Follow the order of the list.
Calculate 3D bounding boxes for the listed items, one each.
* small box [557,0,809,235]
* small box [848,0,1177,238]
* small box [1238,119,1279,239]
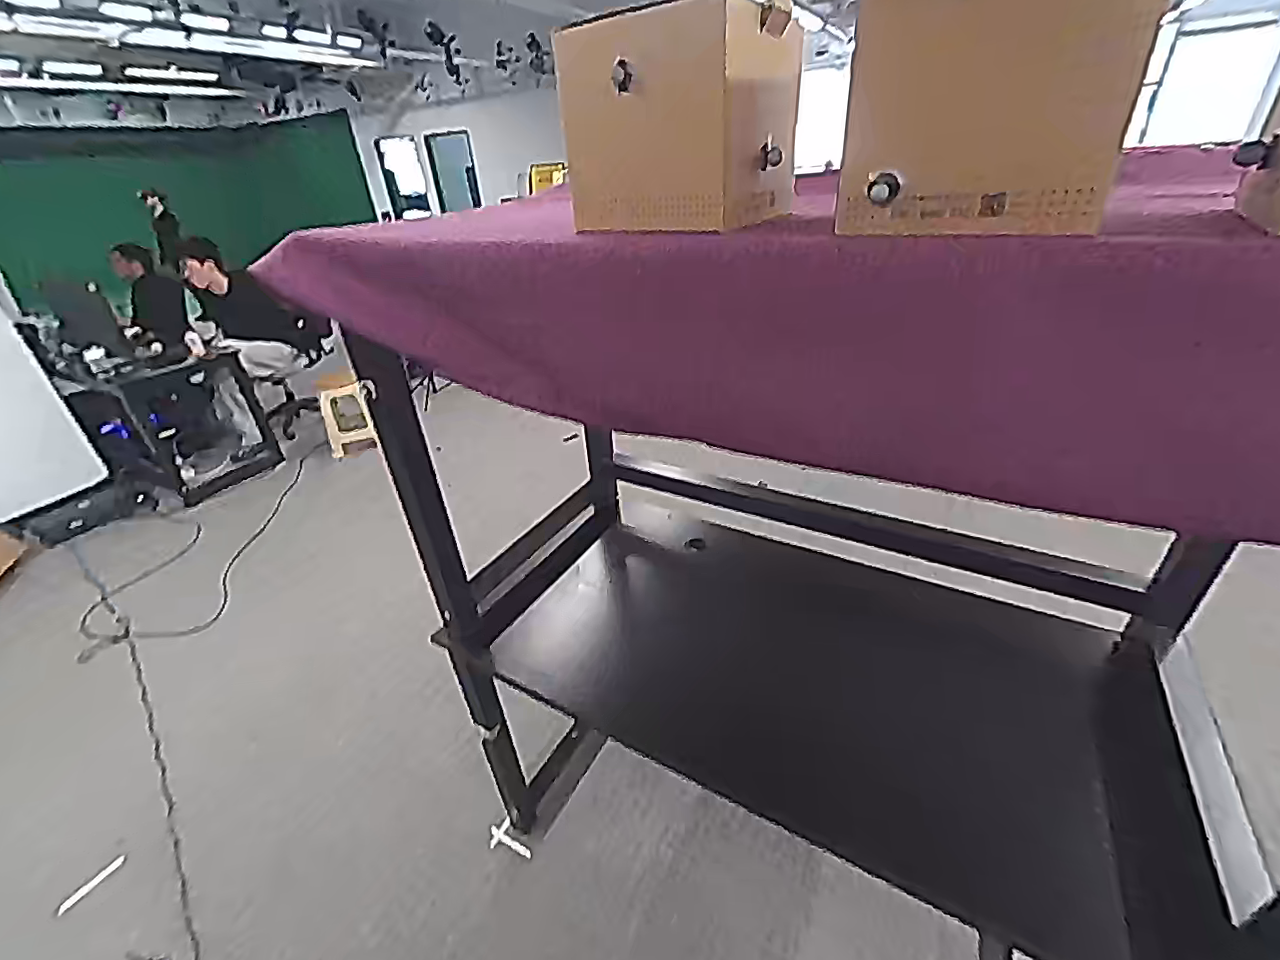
[{"bbox_3d":[0.046,-0.338,0.527,0.179,0.176,0.168,16,36,31],"label":"small box"},{"bbox_3d":[0.260,-0.277,0.397,0.168,0.176,0.179,14,34,28],"label":"small box"},{"bbox_3d":[0.464,-0.214,0.264,0.179,0.176,0.168,16,35,32],"label":"small box"}]
